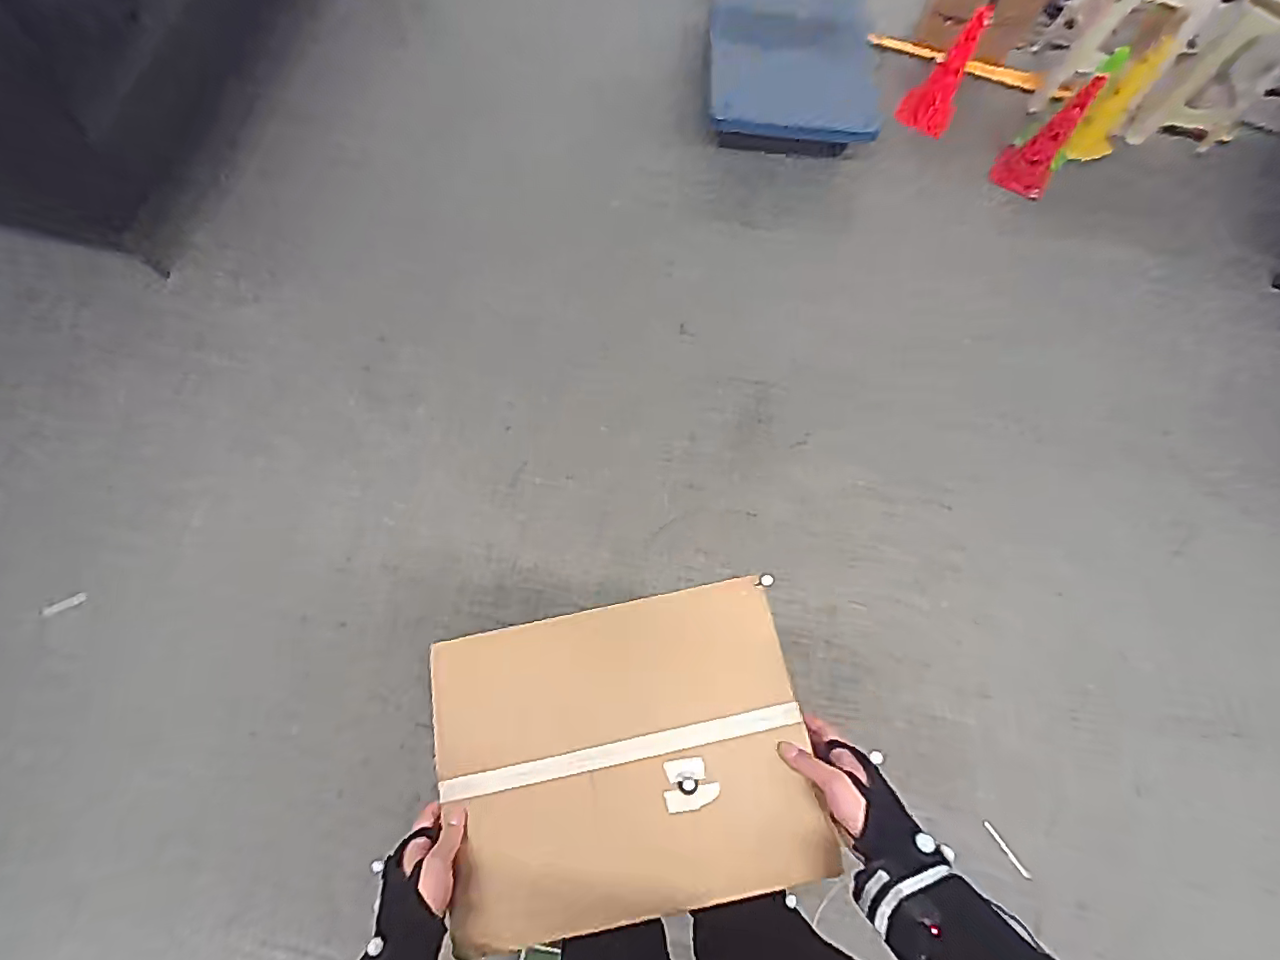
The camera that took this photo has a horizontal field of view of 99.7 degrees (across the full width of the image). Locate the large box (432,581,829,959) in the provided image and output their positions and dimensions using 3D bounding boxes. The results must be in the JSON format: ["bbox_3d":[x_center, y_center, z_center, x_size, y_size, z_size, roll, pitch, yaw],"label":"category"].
[{"bbox_3d":[-0.019,0.362,0.749,0.408,0.320,0.320,-13,71,-2],"label":"large box"}]
